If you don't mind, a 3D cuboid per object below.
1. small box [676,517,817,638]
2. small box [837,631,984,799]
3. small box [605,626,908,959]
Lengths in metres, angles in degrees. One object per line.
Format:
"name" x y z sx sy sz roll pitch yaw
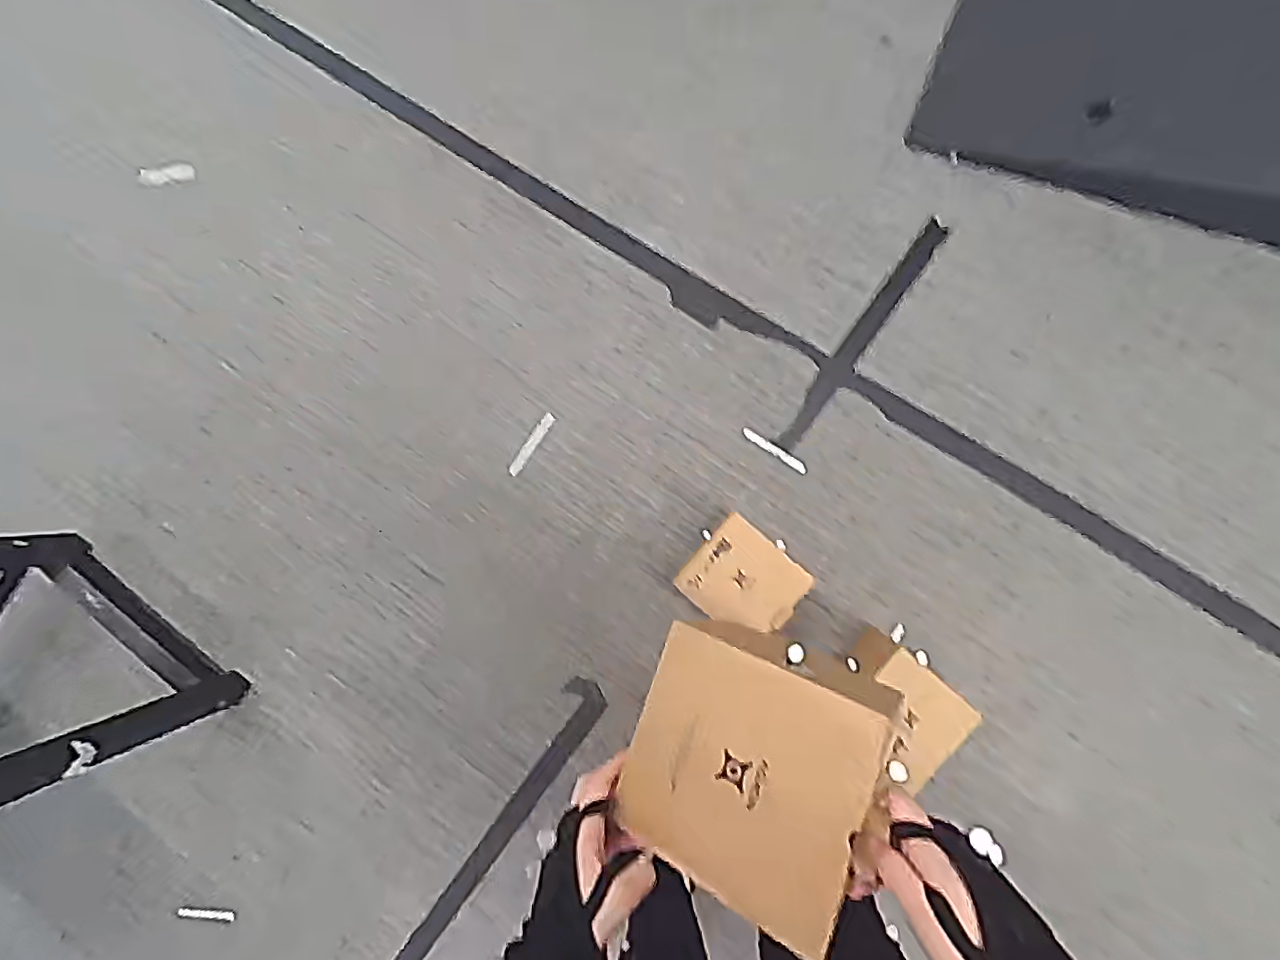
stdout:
"small box" 0.185 0.178 0.977 0.179 0.176 0.168 41 93 6
"small box" 0.436 0.393 0.939 0.168 0.176 0.179 41 92 6
"small box" 0.107 0.228 0.447 0.179 0.176 0.168 17 84 30
